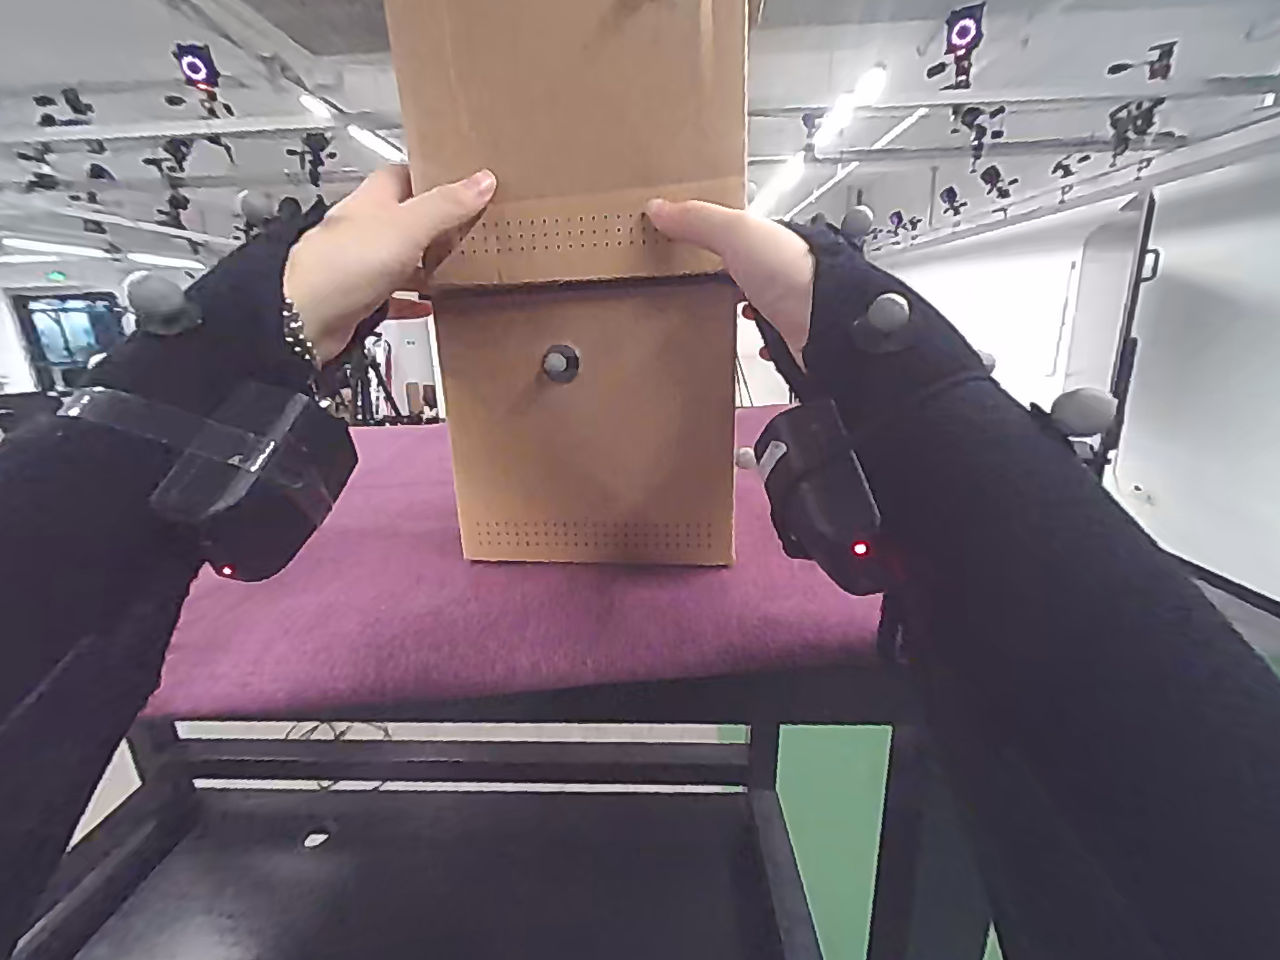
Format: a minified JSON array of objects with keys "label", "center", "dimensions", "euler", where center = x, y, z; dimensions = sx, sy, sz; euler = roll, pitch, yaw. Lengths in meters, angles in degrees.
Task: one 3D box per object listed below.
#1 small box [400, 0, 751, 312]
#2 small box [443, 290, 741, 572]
[{"label":"small box","center":[-0.026,-0.193,0.343],"dimensions":[0.179,0.176,0.168],"euler":[-1,14,4]},{"label":"small box","center":[-0.017,-0.040,0.398],"dimensions":[0.179,0.176,0.168],"euler":[0,14,9]}]
